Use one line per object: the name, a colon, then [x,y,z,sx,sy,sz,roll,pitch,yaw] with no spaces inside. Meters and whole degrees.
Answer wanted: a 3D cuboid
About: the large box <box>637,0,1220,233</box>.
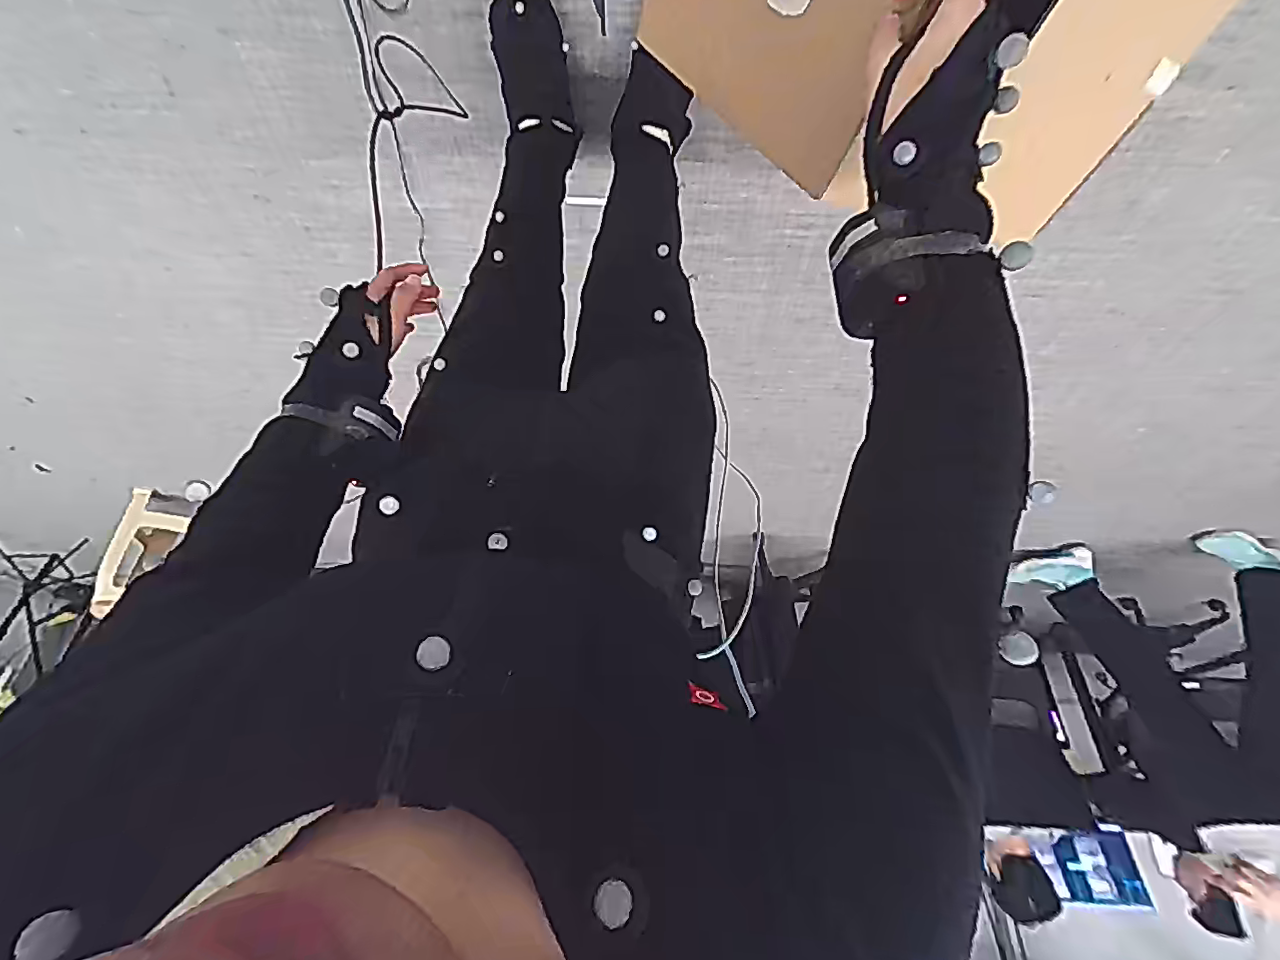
large box: [0.251,-0.488,0.506,0.320,0.408,0.320,-9,144,-29]
